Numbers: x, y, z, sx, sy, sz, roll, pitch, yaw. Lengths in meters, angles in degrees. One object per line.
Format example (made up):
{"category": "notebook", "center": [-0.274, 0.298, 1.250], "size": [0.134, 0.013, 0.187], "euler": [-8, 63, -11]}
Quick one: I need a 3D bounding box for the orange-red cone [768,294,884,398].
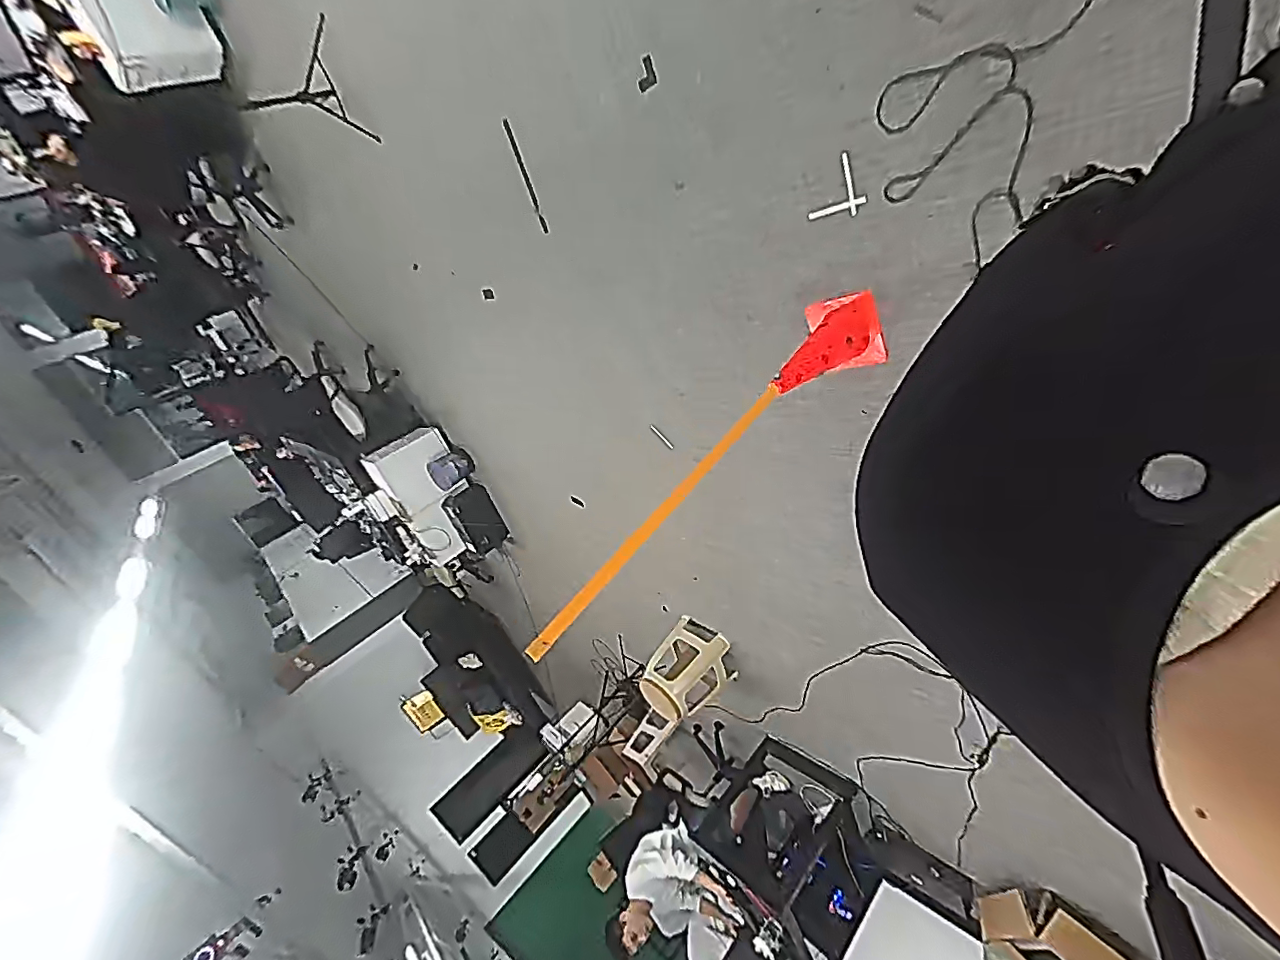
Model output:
{"category": "orange-red cone", "center": [0.442, -0.310, 1.392], "size": [0.199, 0.360, 0.198], "euler": [3, 125, 51]}
